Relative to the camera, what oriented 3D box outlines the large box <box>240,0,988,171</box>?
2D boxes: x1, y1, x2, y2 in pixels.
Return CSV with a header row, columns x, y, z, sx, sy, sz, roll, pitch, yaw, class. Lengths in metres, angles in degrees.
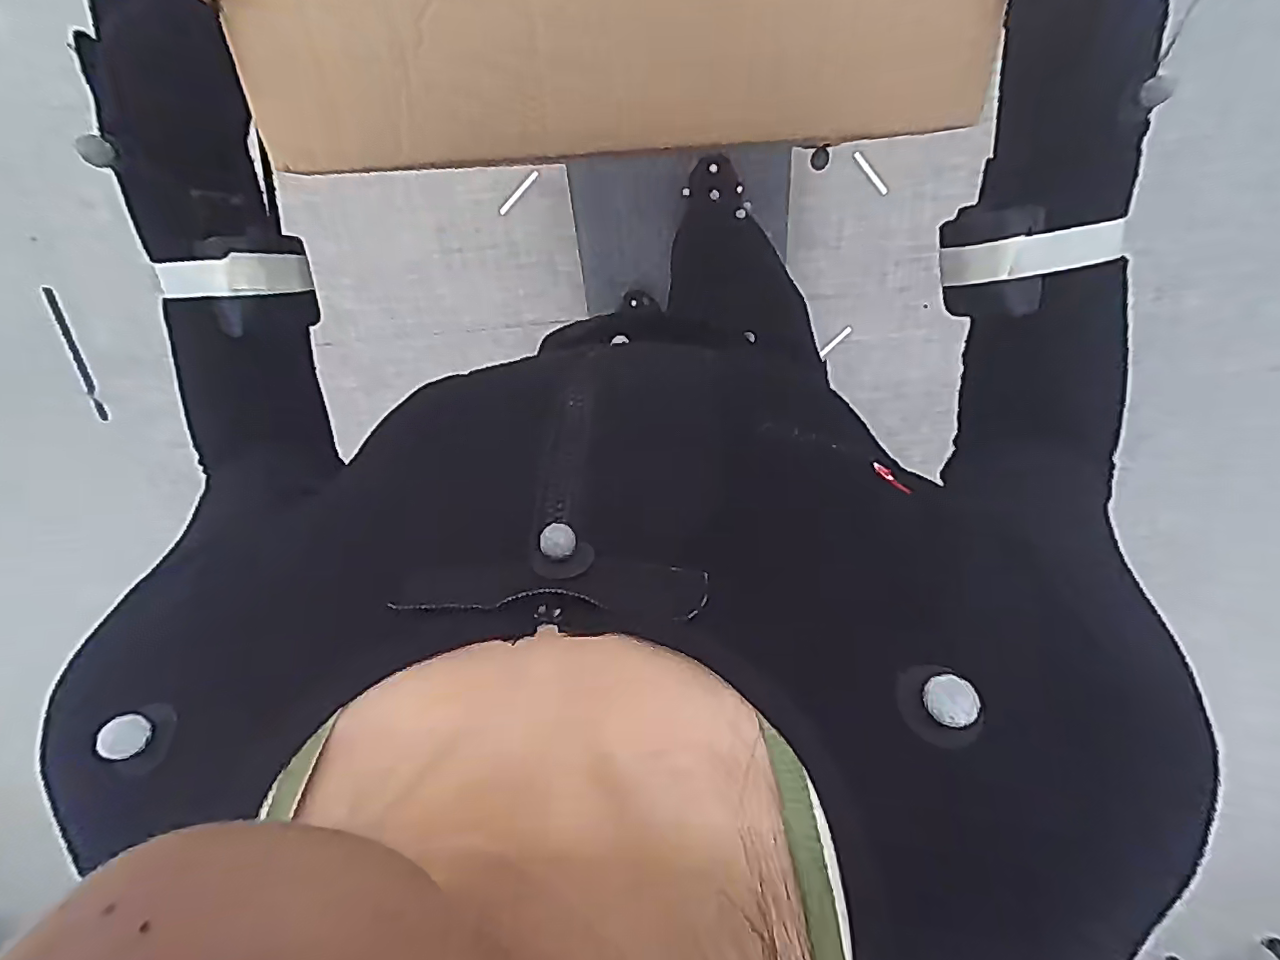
x,y,z,sx,sy,sz,roll,pitch,yaw,class
-0.017,-0.406,0.369,0.408,0.320,0.320,-2,120,2,large box
